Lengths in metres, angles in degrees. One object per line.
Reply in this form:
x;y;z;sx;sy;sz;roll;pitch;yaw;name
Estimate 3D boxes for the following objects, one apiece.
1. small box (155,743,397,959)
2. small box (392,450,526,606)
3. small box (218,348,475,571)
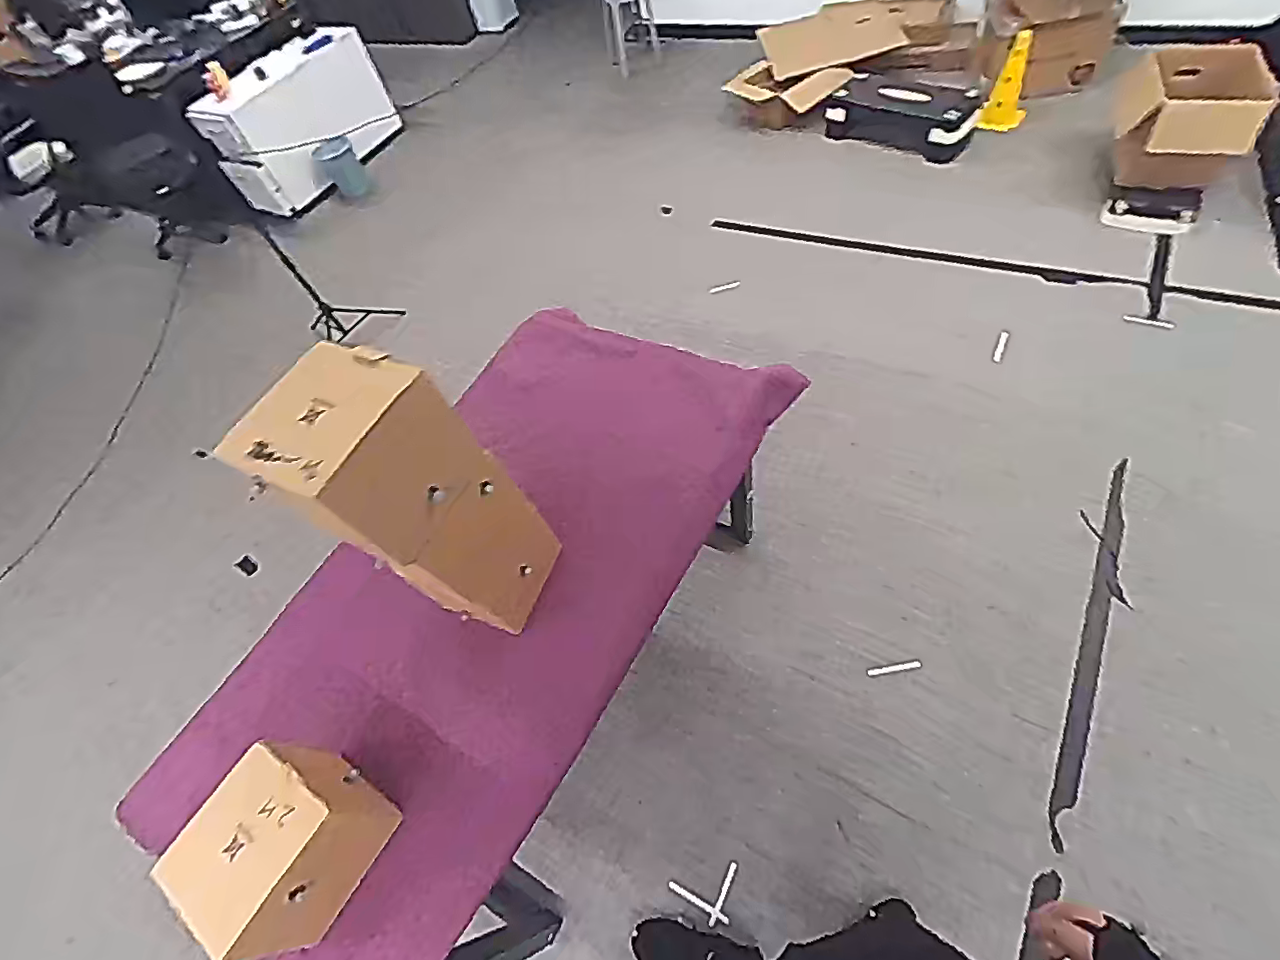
-0.474;0.493;0.729;0.168;0.176;0.179;23;64;25;small box
-0.292;0.057;0.780;0.168;0.176;0.179;18;63;22;small box
-0.323;-0.023;0.640;0.168;0.176;0.179;18;62;23;small box
